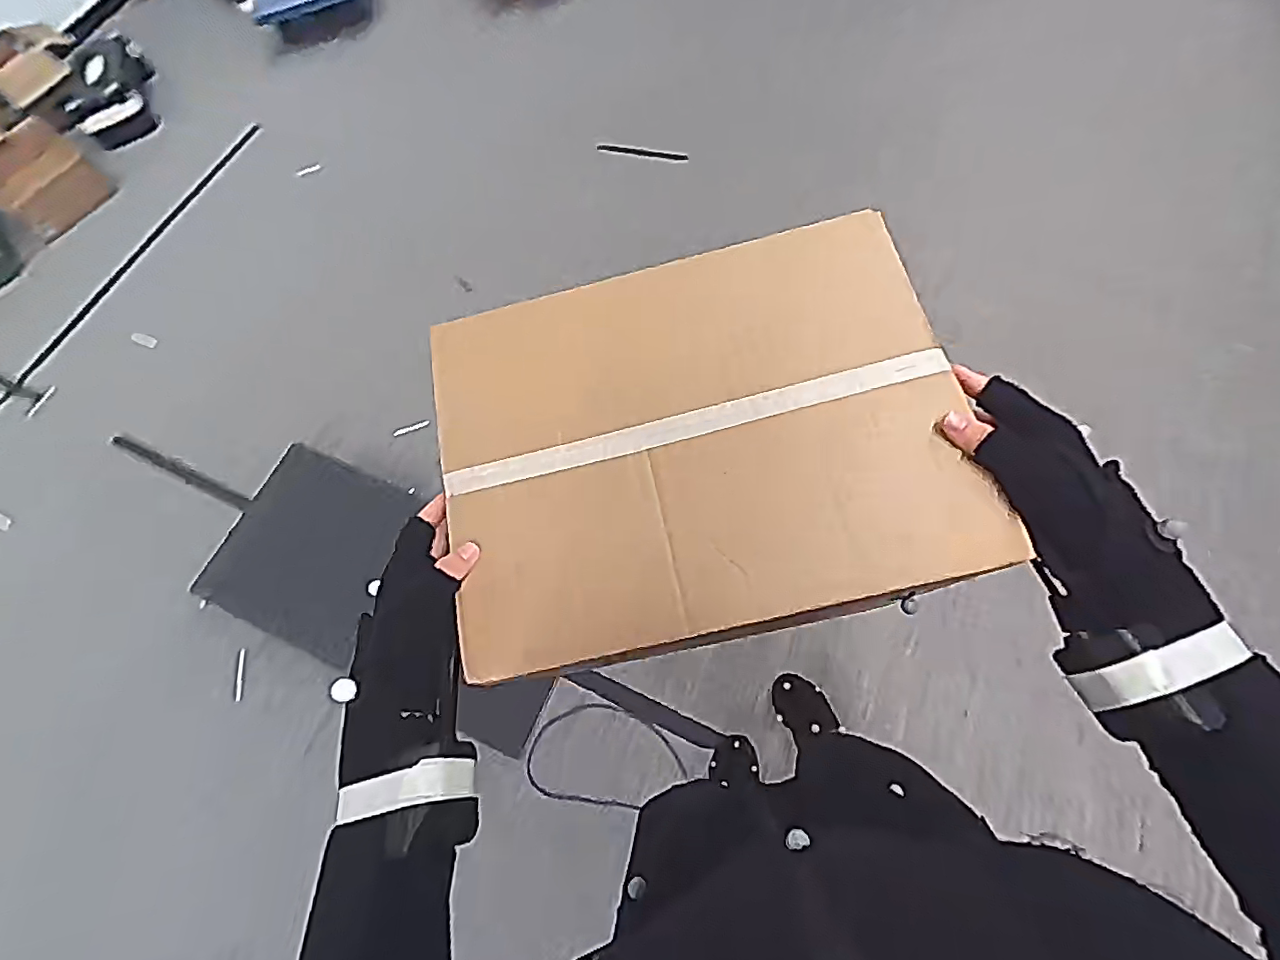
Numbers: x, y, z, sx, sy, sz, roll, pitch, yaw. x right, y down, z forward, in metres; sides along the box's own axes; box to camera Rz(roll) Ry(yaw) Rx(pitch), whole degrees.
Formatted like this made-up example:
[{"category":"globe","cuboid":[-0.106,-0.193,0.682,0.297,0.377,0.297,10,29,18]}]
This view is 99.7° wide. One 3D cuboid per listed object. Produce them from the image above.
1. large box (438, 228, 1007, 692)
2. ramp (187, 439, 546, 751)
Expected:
[{"category":"large box","cuboid":[0.058,0.010,0.579,0.408,0.320,0.320,-14,70,3]},{"category":"ramp","cuboid":[-0.672,0.277,1.478,0.991,0.206,0.509,19,70,16]}]
